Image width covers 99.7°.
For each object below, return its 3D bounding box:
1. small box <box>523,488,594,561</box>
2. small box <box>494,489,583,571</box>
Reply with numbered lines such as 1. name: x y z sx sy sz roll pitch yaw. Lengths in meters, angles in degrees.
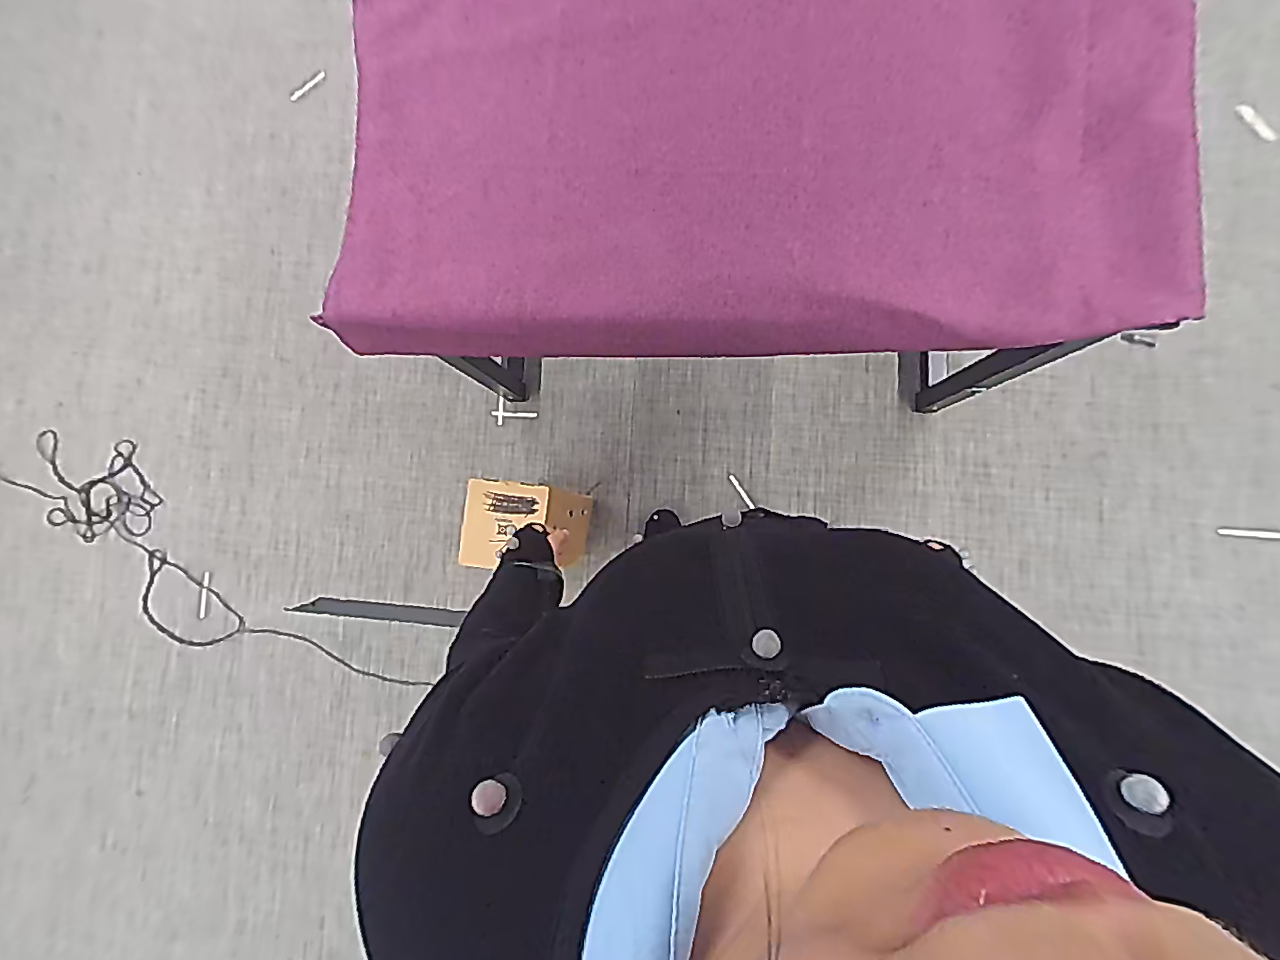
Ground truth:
1. small box: -0.228 0.124 1.460 0.168 0.176 0.179 9 87 6
2. small box: -0.235 0.117 1.295 0.168 0.176 0.179 4 87 6
